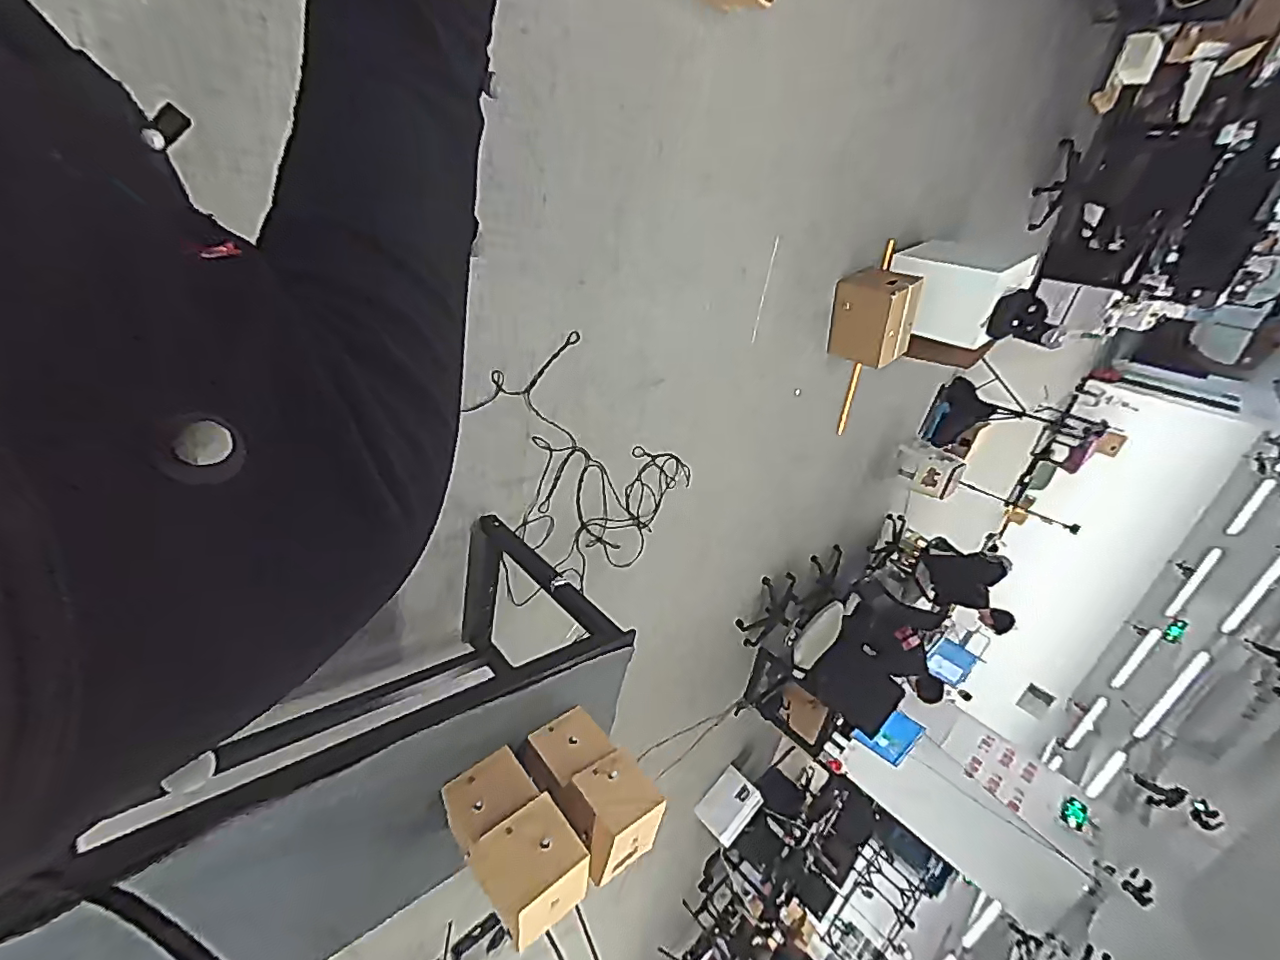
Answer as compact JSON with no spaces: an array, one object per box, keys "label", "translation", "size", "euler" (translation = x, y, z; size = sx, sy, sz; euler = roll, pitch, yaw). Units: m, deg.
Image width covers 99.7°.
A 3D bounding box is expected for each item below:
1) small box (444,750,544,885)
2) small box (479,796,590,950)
[{"label":"small box","translation":[-0.333,0.760,1.241],"size":[0.168,0.176,0.179],"euler":[-22,130,-36]},{"label":"small box","translation":[-0.222,0.804,1.128],"size":[0.168,0.176,0.179],"euler":[-19,129,-37]}]
